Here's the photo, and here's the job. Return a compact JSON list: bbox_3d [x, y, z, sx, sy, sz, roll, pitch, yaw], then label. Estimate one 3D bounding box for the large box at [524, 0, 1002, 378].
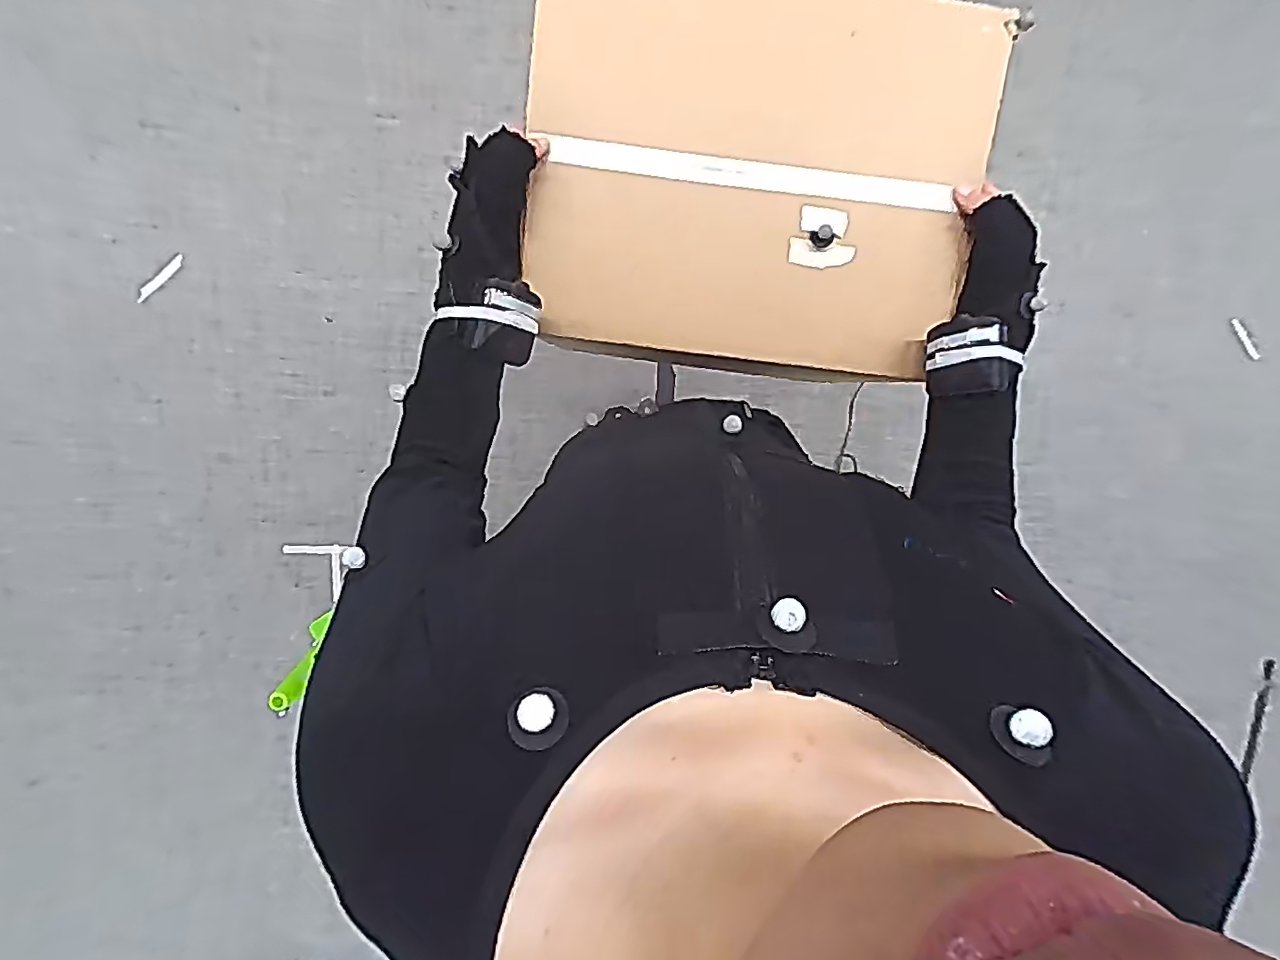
[{"bbox_3d":[0.098,-0.296,0.631,0.408,0.320,0.320,6,100,-2],"label":"large box"}]
